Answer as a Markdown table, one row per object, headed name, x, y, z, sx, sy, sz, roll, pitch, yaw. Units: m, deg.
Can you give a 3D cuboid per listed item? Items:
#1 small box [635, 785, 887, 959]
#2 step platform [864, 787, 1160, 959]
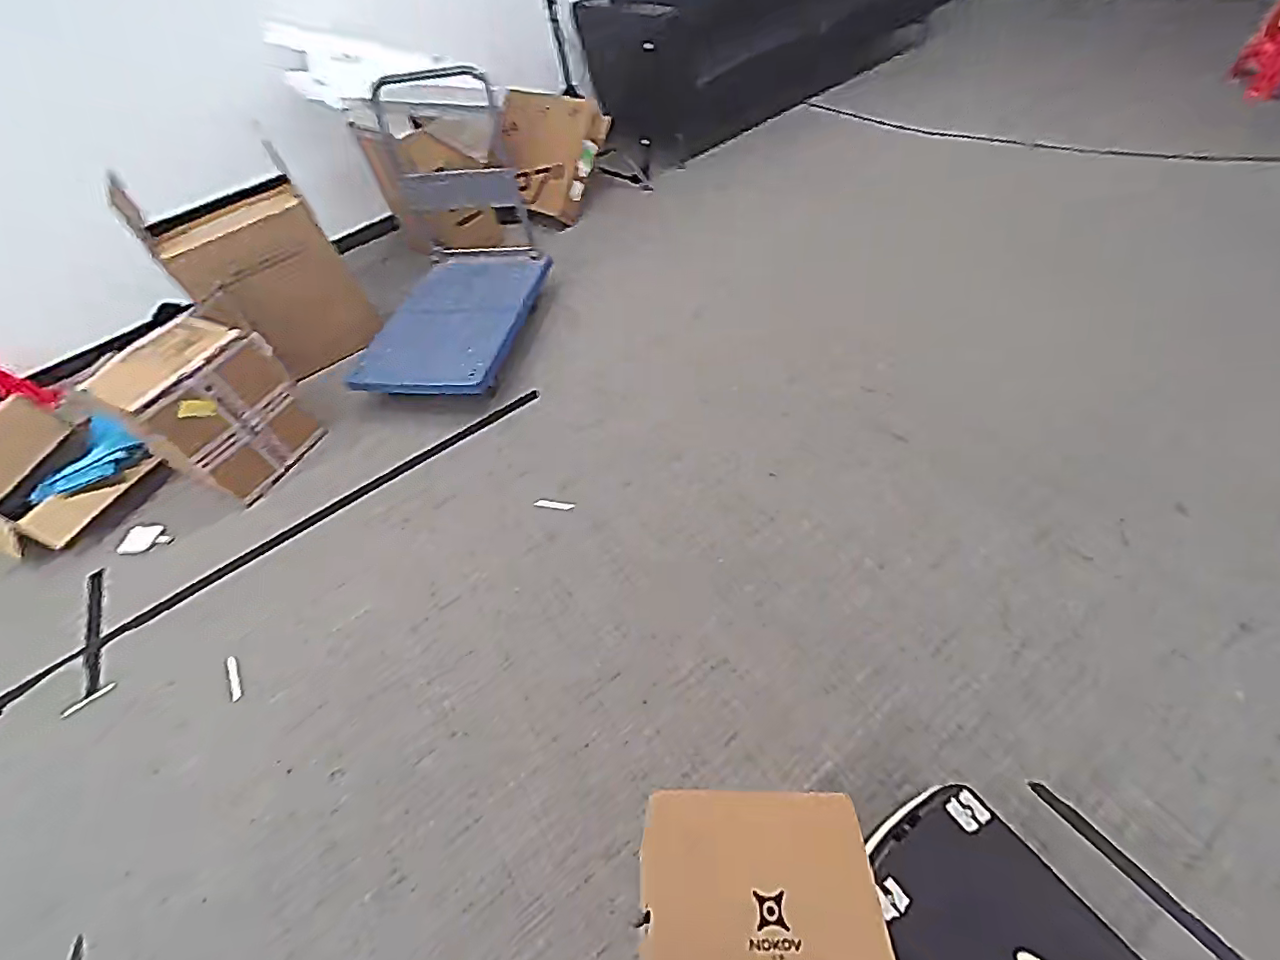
| name | x | y | z | sx | sy | sz | roll | pitch | yaw |
| --- | --- | --- | --- | --- | --- | --- | --- | --- | --- |
| small box | 0.082 | 0.370 | 0.432 | 0.168 | 0.176 | 0.179 | 2 | 42 | -2 |
| step platform | 0.677 | 0.840 | 0.804 | 0.286 | 0.204 | 0.684 | -33 | 52 | -16 |
